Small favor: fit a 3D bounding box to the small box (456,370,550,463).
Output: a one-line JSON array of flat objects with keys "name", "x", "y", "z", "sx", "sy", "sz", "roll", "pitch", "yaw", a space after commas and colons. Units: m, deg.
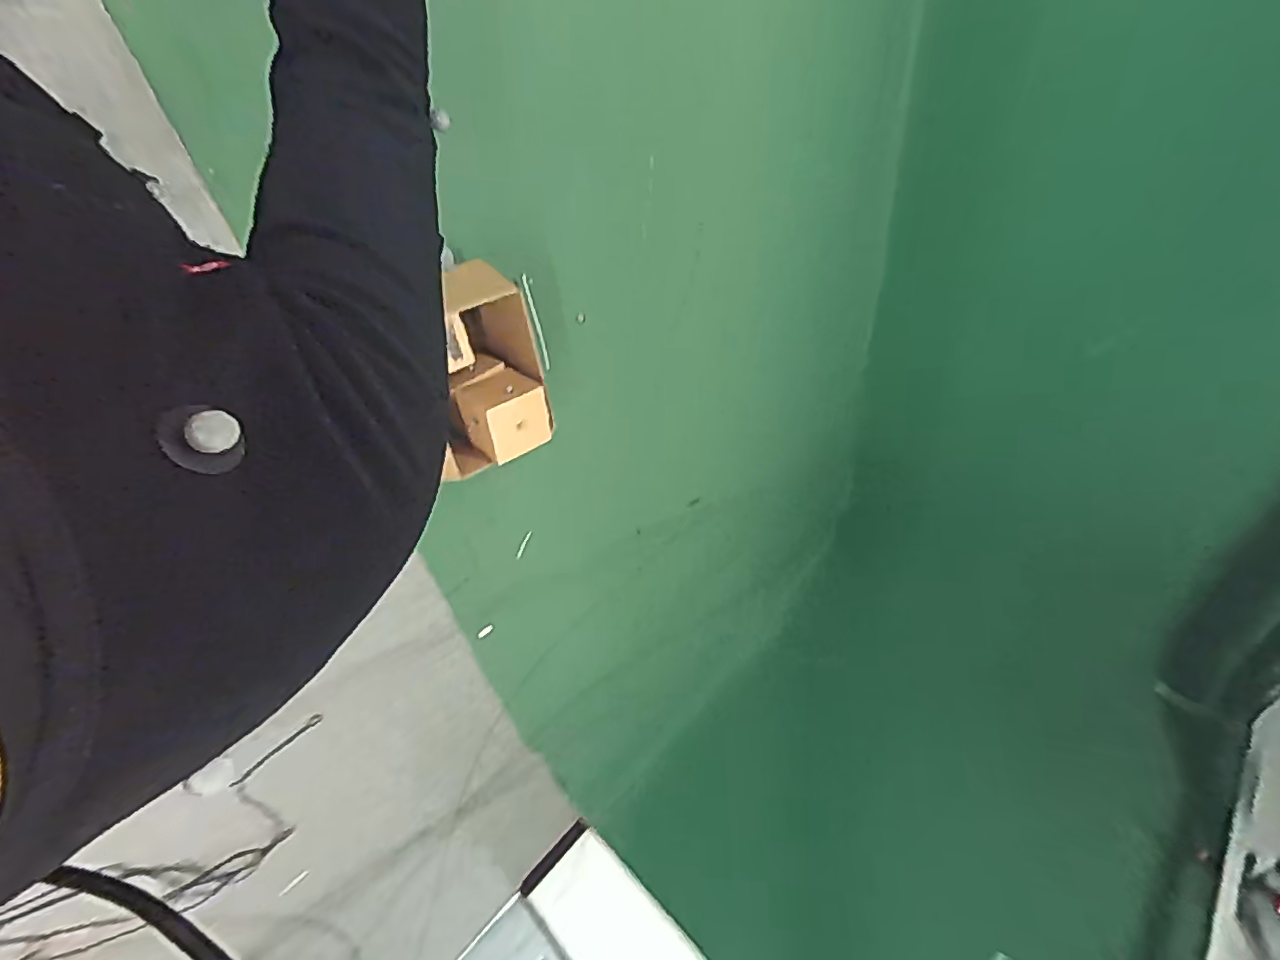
[{"name": "small box", "x": -0.372, "y": -0.175, "z": 1.456, "sx": 0.179, "sy": 0.176, "sz": 0.168, "roll": -33, "pitch": 136, "yaw": -33}]
